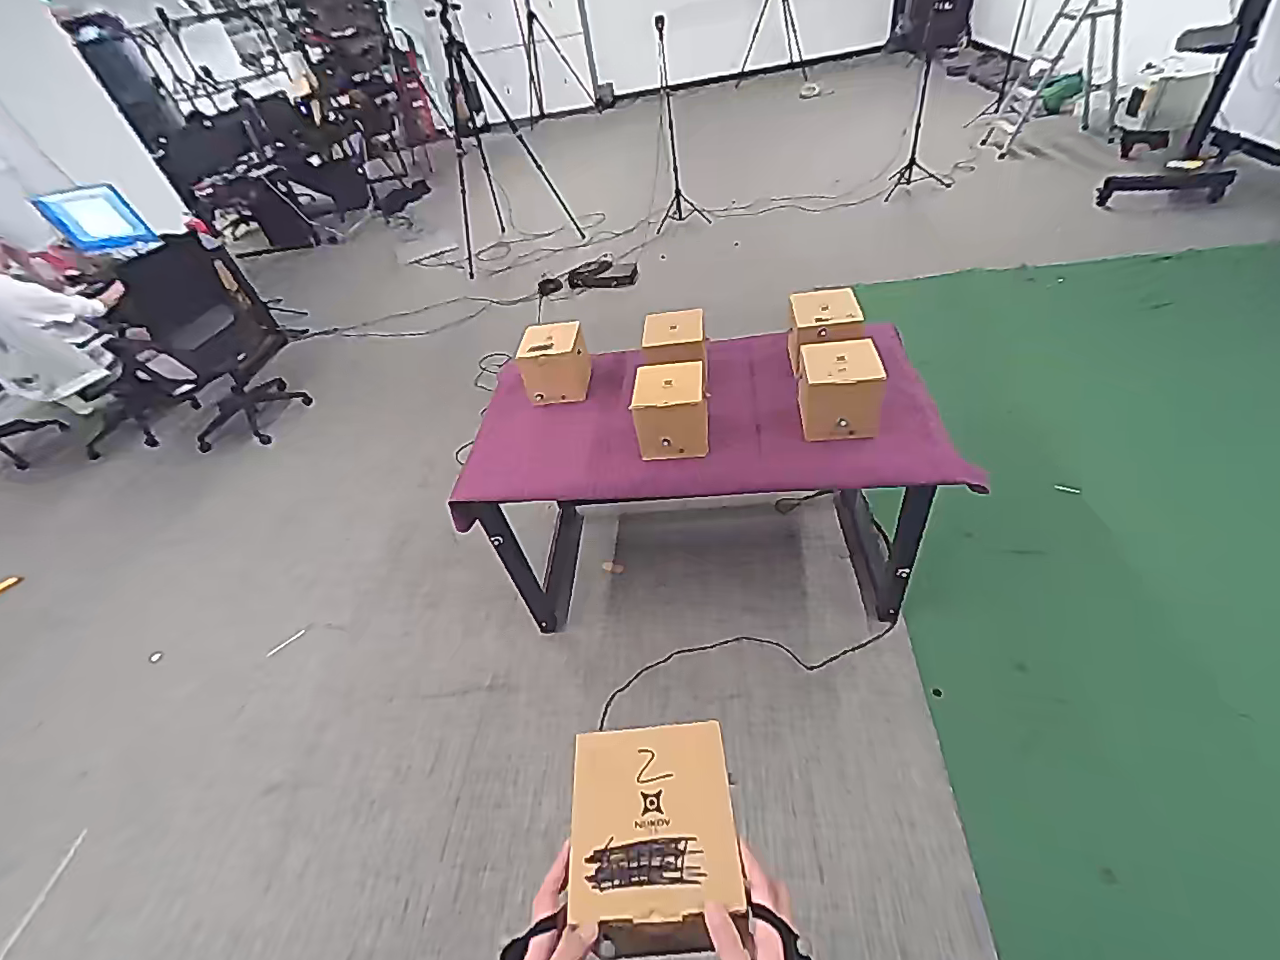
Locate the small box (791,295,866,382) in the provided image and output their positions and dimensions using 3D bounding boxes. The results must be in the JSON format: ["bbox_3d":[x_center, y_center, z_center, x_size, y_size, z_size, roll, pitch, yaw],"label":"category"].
[{"bbox_3d":[0.508,-0.385,1.485,0.168,0.176,0.179,-4,44,10],"label":"small box"}]

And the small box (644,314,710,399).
[{"bbox_3d":[0.112,-0.353,1.548,0.168,0.176,0.179,-3,45,11],"label":"small box"}]

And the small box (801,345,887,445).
[{"bbox_3d":[0.480,-0.203,1.298,0.168,0.176,0.179,-3,43,12],"label":"small box"}]

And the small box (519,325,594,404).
[{"bbox_3d":[-0.241,-0.338,1.611,0.168,0.176,0.179,-3,44,9],"label":"small box"}]
